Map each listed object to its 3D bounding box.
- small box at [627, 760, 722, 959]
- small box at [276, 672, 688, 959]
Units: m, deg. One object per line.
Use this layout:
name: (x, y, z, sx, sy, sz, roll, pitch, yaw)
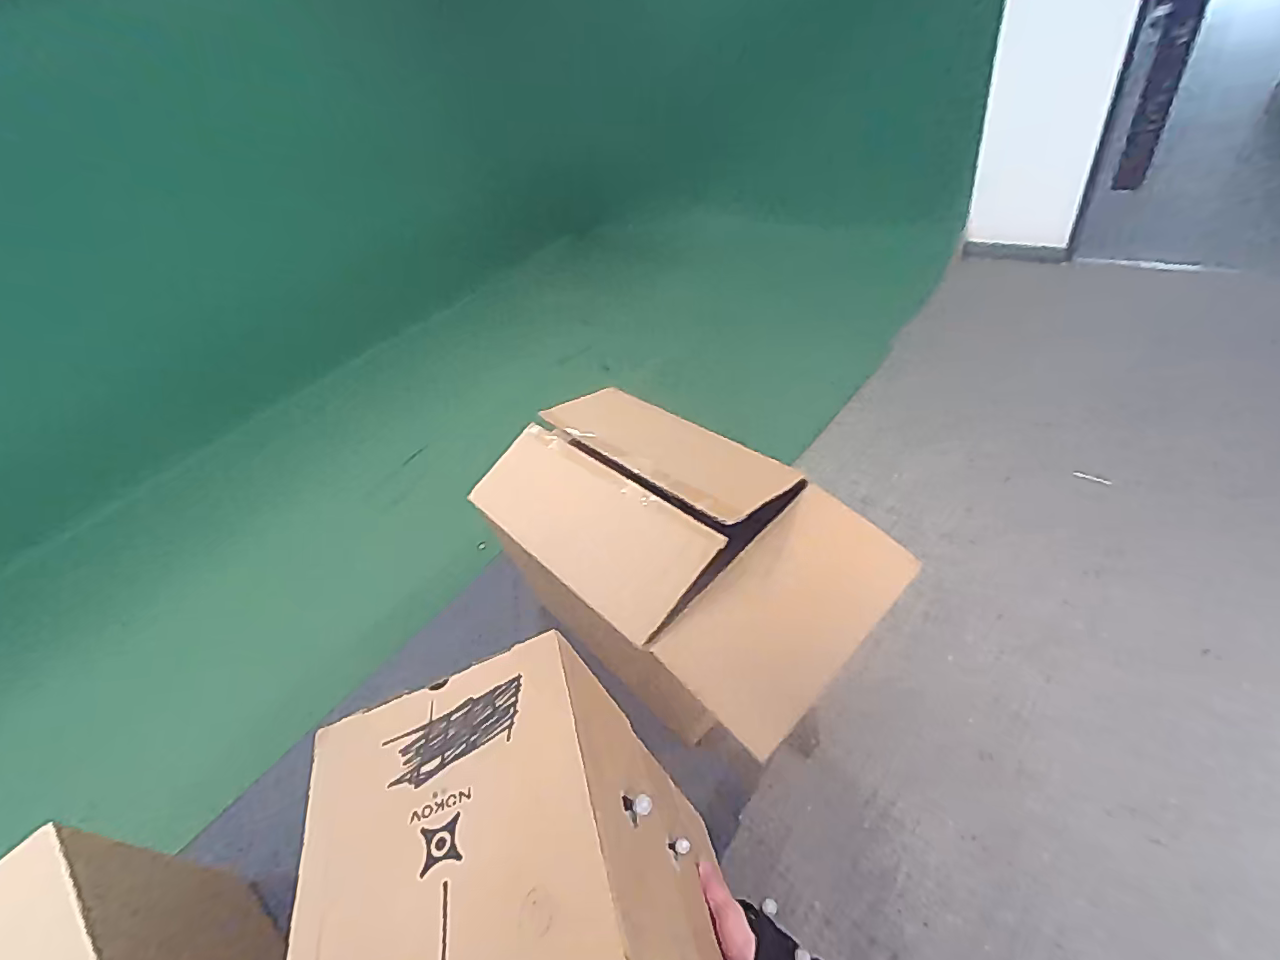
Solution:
small box: (-0.038, 0.363, 0.436, 0.168, 0.176, 0.179, -23, 44, -2)
small box: (-0.079, 0.253, 0.320, 0.168, 0.176, 0.179, -23, 46, -1)
